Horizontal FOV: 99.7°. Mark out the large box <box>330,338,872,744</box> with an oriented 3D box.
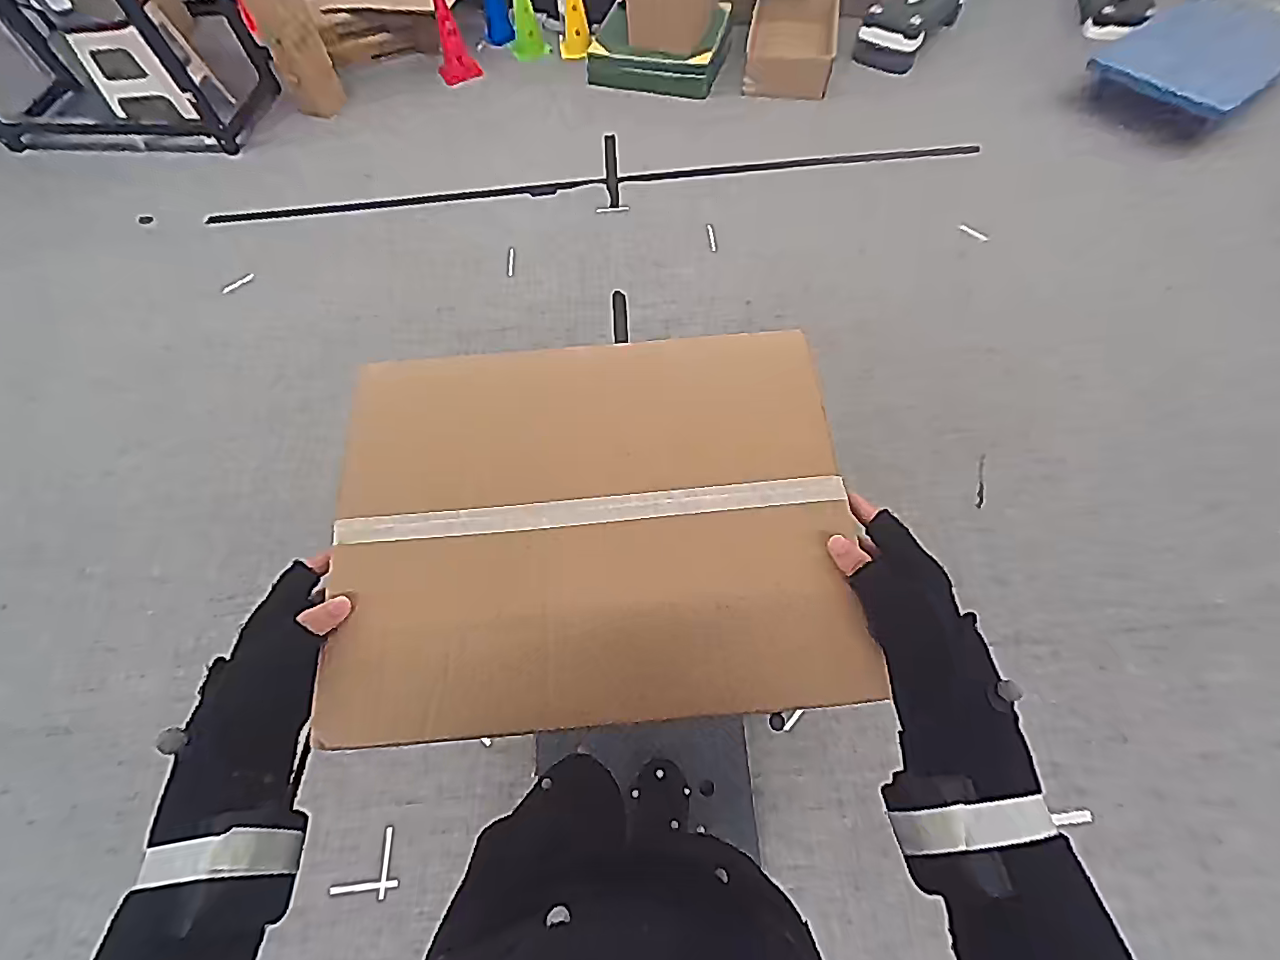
[{"bbox_3d":[-0.036,0.080,0.581,0.408,0.320,0.320,-4,68,-1],"label":"large box"}]
